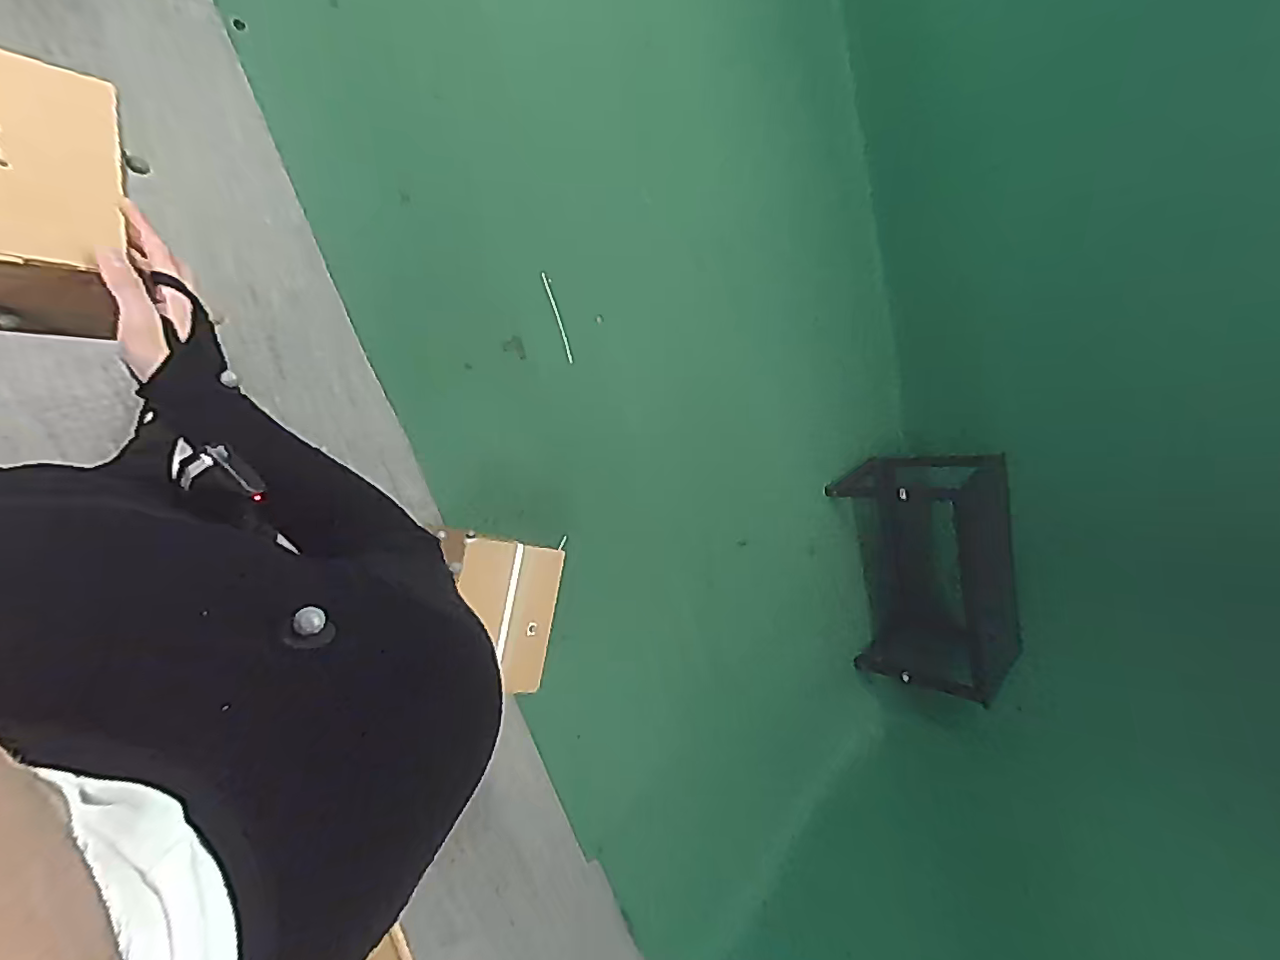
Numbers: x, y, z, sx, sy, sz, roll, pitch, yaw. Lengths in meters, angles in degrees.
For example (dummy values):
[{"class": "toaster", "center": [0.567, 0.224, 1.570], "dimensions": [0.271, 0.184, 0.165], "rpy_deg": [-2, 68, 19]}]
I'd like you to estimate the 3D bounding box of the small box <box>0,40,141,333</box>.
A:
[{"class": "small box", "center": [-0.551, -0.249, 0.470], "dimensions": [0.168, 0.176, 0.179], "rpy_deg": [-4, 84, -41]}]
